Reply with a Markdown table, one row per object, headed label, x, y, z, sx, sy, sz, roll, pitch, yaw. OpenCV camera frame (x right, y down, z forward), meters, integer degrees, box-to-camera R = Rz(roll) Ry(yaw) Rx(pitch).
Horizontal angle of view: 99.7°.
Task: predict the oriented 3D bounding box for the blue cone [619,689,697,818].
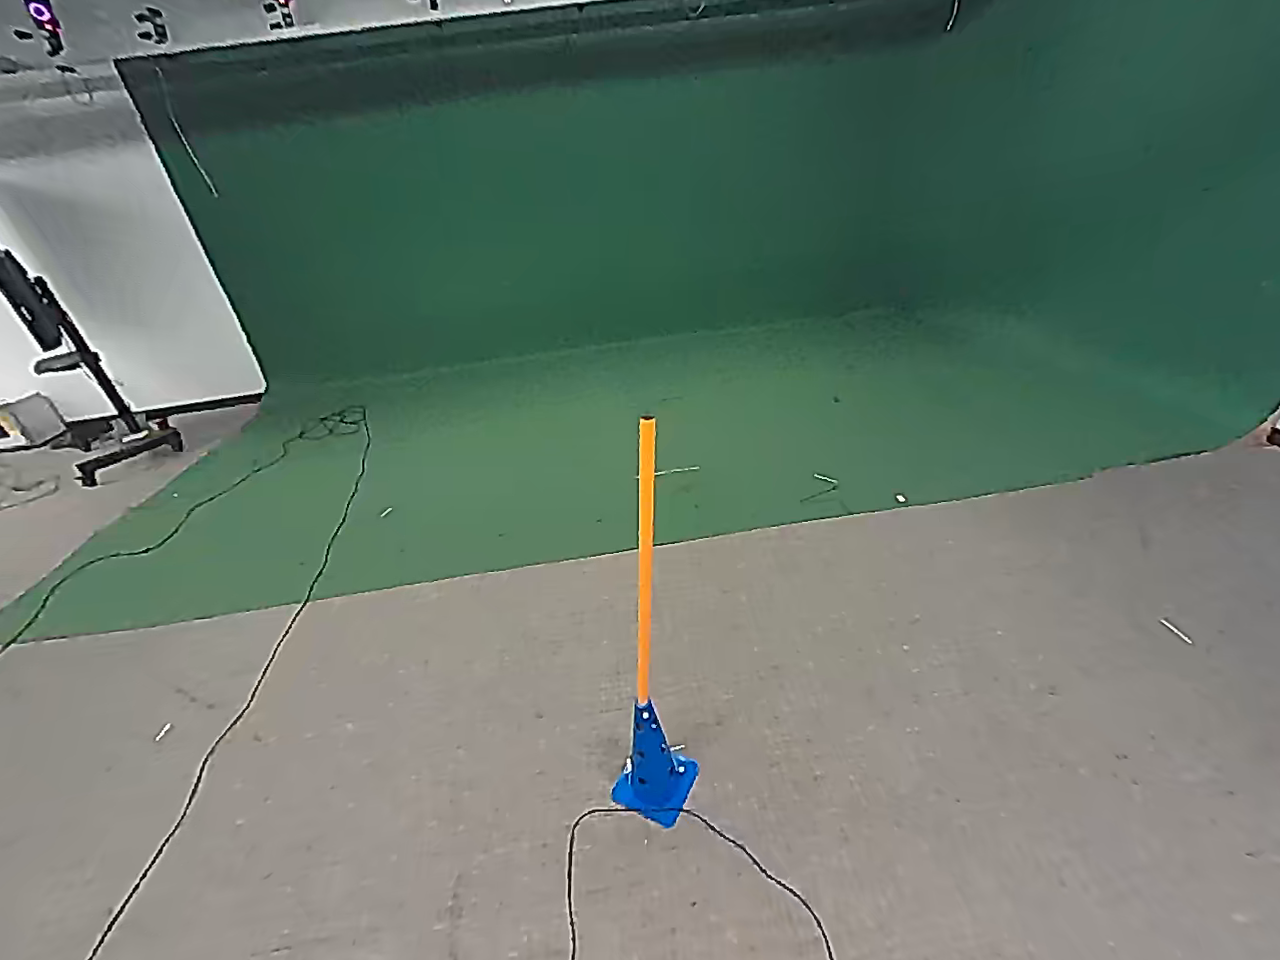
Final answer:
| label | x | y | z | sx | sy | sz | roll | pitch | yaw |
| --- | --- | --- | --- | --- | --- | --- | --- | --- | --- |
| blue cone | 0.035 | 0.701 | 1.454 | 0.192 | 0.380 | 0.193 | 10 | 33 | 26 |
